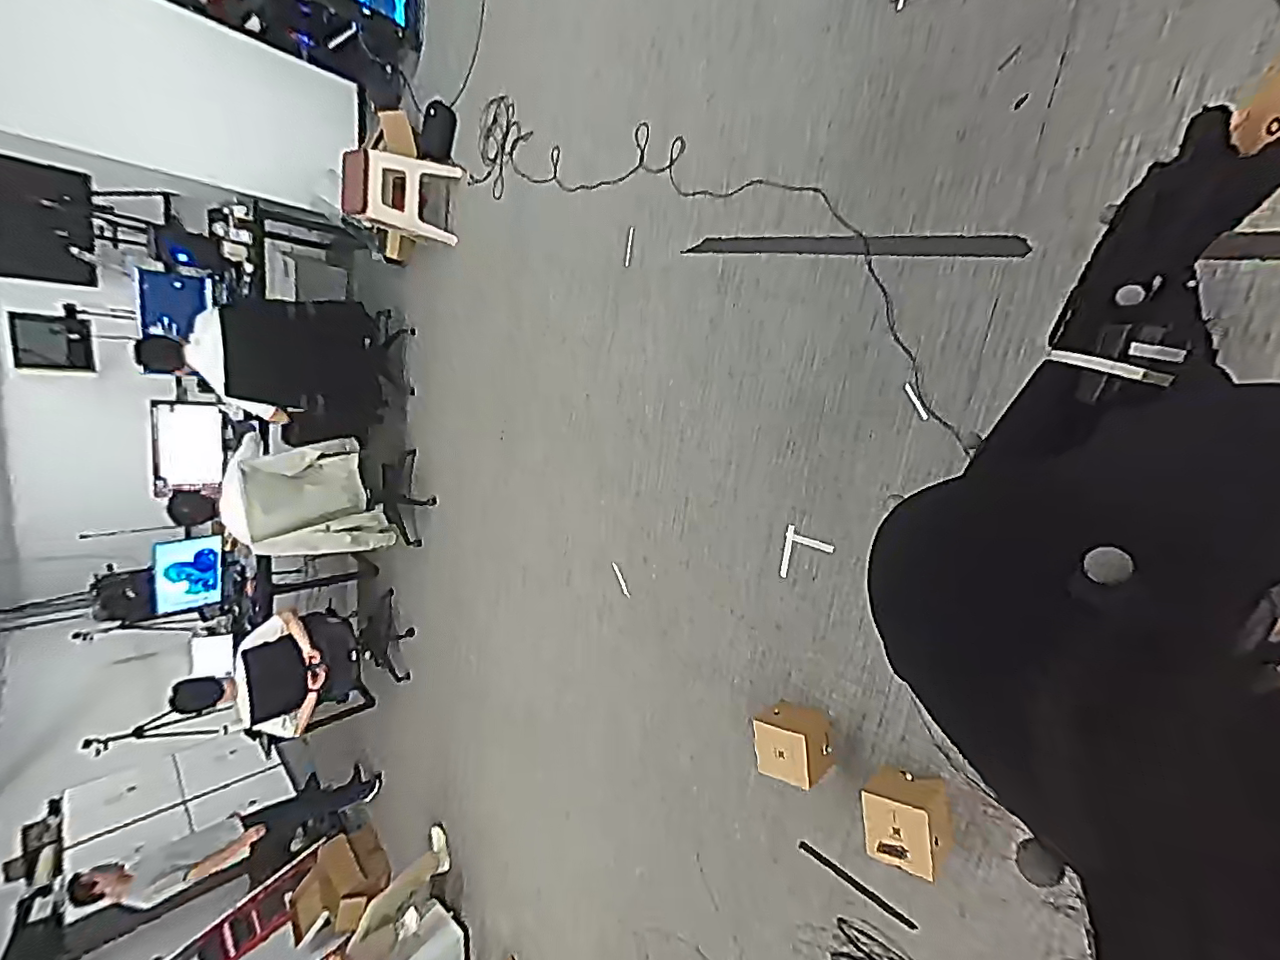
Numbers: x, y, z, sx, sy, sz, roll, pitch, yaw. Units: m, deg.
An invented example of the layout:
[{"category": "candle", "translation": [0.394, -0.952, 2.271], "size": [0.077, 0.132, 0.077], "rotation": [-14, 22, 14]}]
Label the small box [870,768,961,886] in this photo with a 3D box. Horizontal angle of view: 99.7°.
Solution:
[{"category": "small box", "translation": [0.728, 0.899, 1.422], "size": [0.168, 0.176, 0.179], "rotation": [-6, 90, 44]}]

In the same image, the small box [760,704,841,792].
[{"category": "small box", "translation": [0.490, 0.804, 1.647], "size": [0.179, 0.176, 0.168], "rotation": [-5, 92, 44]}]

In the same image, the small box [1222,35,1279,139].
[{"category": "small box", "translation": [0.570, -0.307, 0.370], "size": [0.179, 0.176, 0.168], "rotation": [40, 138, 17]}]
